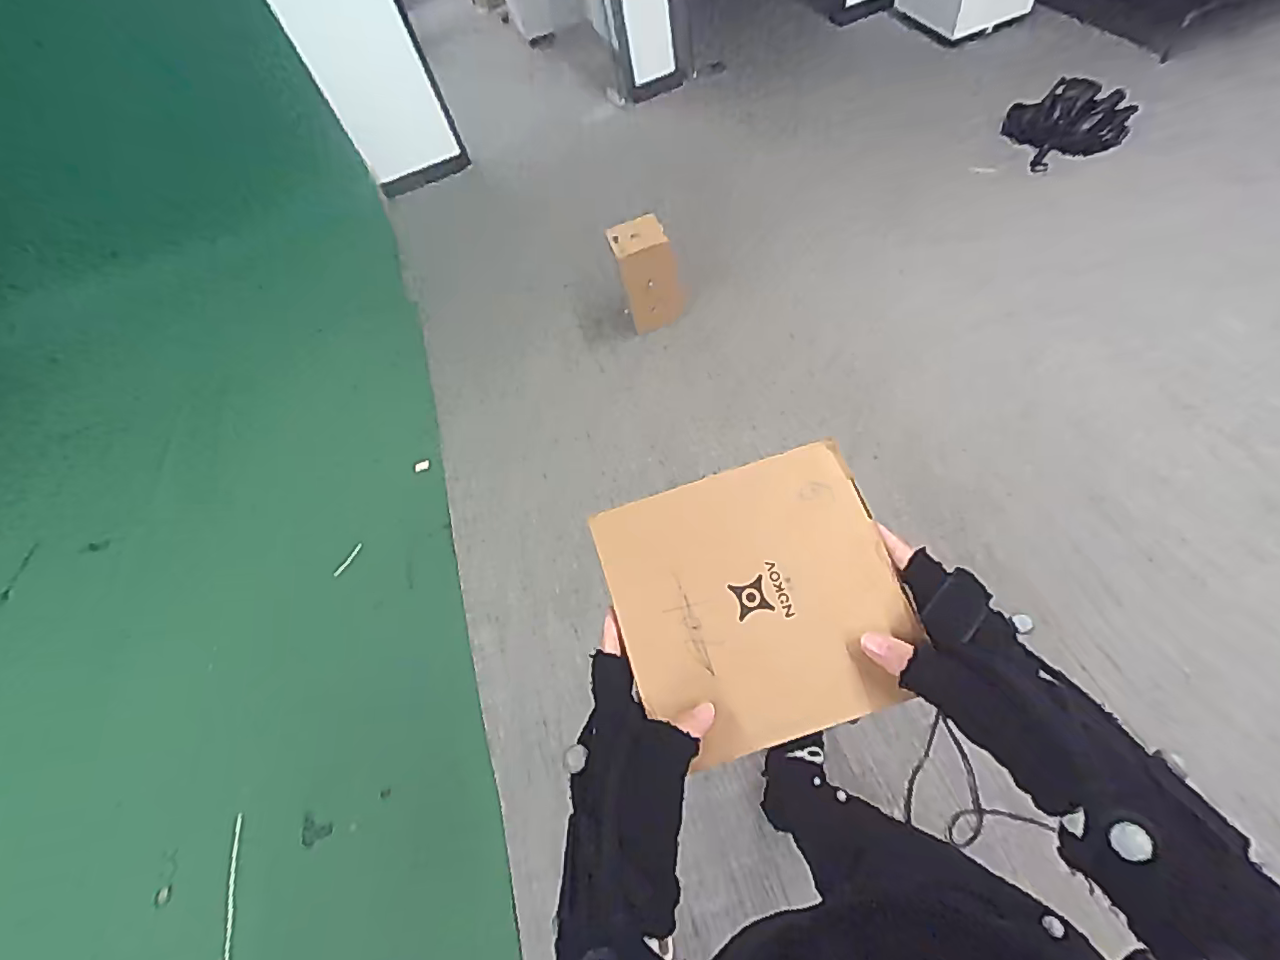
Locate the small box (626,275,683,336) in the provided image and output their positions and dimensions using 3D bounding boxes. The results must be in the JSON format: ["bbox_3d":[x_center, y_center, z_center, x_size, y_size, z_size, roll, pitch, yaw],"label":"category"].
[{"bbox_3d":[0.051,-0.654,1.954,0.179,0.176,0.168,-21,57,-2],"label":"small box"}]

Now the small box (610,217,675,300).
[{"bbox_3d":[0.013,-0.741,1.821,0.179,0.176,0.168,-19,57,1],"label":"small box"}]

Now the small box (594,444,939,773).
[{"bbox_3d":[0.080,0.097,0.418,0.179,0.176,0.168,-19,71,0],"label":"small box"}]
